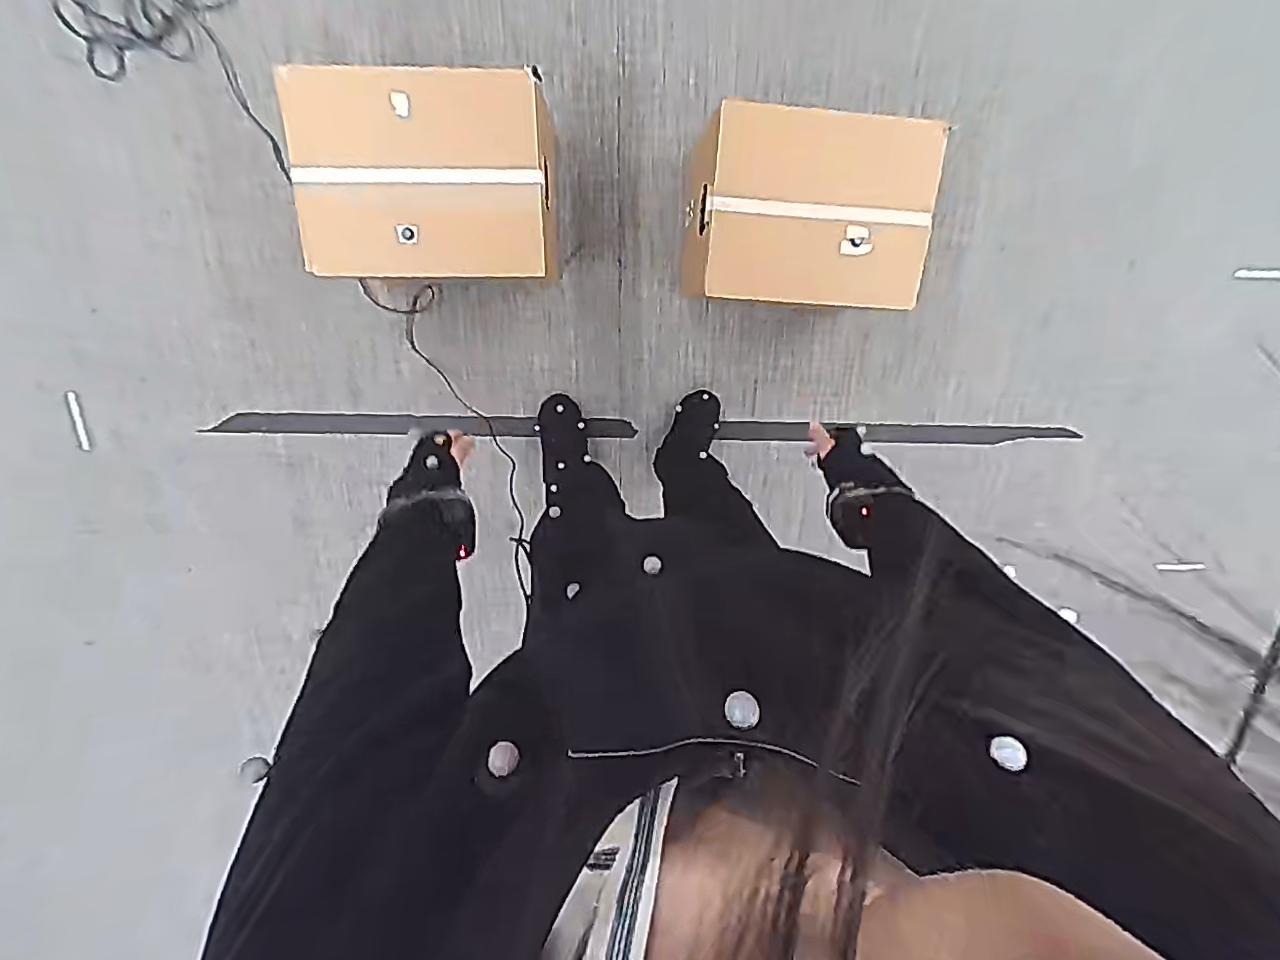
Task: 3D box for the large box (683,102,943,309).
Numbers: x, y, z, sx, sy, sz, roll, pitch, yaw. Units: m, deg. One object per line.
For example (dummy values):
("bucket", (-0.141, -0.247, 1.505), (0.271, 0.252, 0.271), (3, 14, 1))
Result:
("large box", (0.314, -0.526, 1.111), (0.408, 0.320, 0.320), (2, 107, -6))
